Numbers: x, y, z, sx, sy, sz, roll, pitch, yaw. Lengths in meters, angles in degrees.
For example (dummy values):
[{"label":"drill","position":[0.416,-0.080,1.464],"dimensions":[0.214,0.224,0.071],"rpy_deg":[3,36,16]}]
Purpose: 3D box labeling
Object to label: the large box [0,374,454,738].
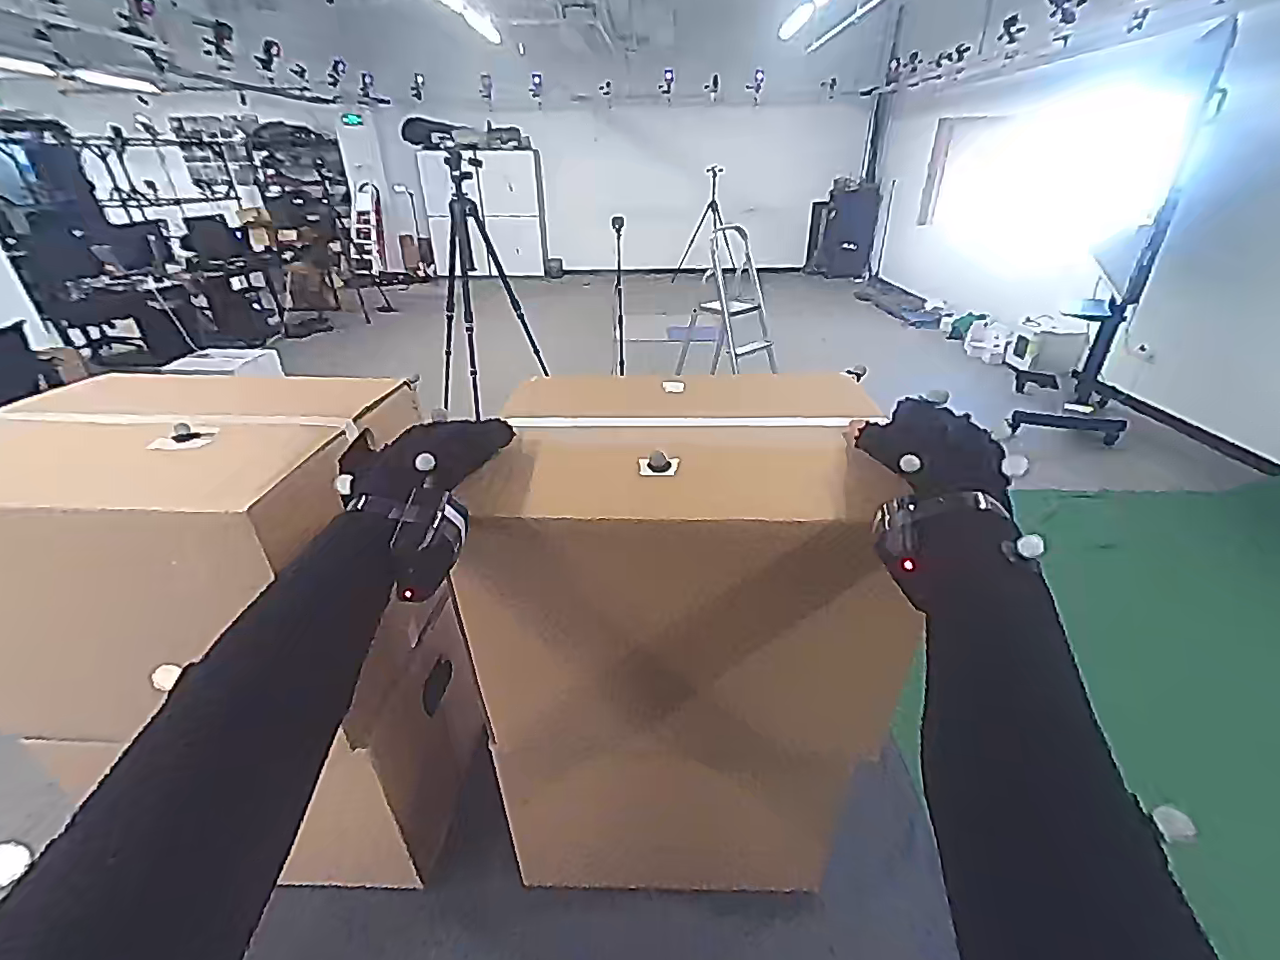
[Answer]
[{"label":"large box","position":[-0.489,0.073,0.646],"dimensions":[0.408,0.320,0.320],"rpy_deg":[3,31,2]}]
